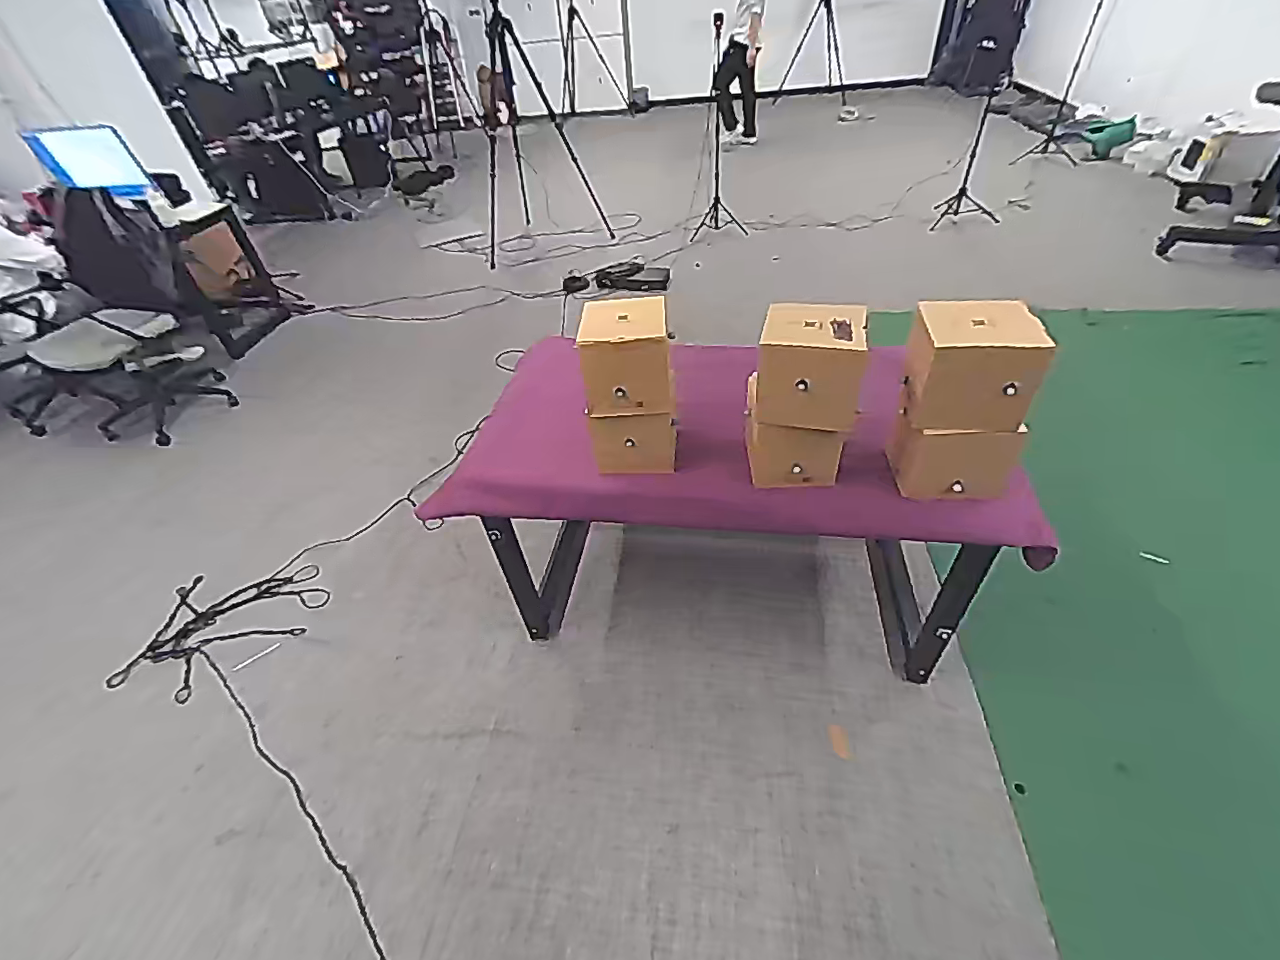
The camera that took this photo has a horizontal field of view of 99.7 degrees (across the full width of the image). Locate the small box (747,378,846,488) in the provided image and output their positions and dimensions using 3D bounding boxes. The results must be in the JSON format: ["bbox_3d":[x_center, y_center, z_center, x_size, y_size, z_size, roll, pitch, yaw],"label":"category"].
[{"bbox_3d":[0.316,-0.101,1.128,0.168,0.176,0.179,-2,42,6],"label":"small box"}]

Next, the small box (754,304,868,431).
[{"bbox_3d":[0.313,-0.207,0.999,0.179,0.176,0.168,7,43,17],"label":"small box"}]

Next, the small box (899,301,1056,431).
[{"bbox_3d":[0.578,-0.200,0.956,0.179,0.176,0.168,3,43,12],"label":"small box"}]

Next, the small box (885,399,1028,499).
[{"bbox_3d":[0.605,-0.075,1.058,0.179,0.176,0.168,-1,43,8],"label":"small box"}]
